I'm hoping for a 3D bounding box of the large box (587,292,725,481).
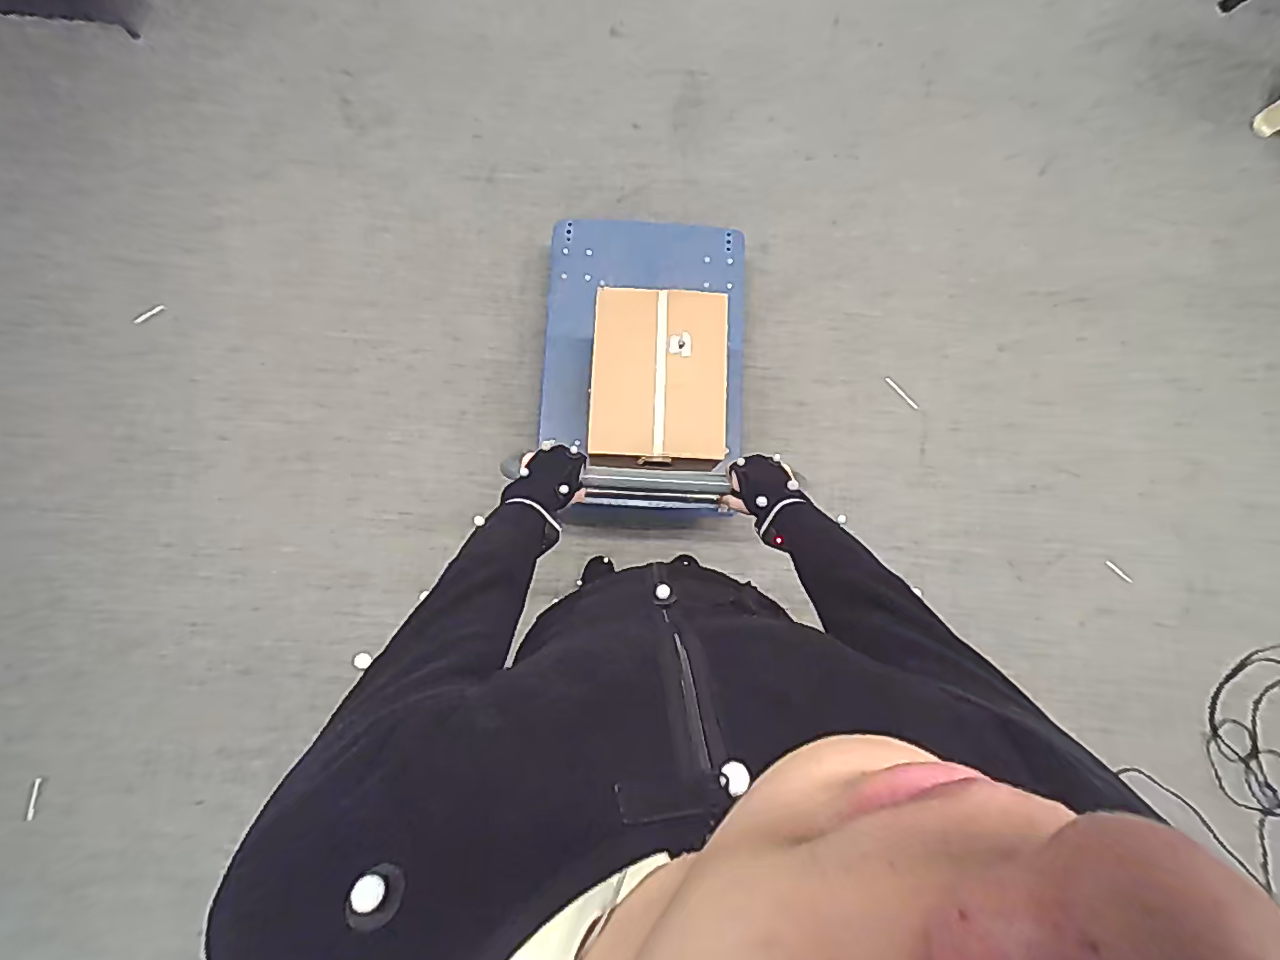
[{"bbox_3d":[0.033,-0.218,1.391,0.320,0.320,0.408,2,80,-3],"label":"large box"}]
